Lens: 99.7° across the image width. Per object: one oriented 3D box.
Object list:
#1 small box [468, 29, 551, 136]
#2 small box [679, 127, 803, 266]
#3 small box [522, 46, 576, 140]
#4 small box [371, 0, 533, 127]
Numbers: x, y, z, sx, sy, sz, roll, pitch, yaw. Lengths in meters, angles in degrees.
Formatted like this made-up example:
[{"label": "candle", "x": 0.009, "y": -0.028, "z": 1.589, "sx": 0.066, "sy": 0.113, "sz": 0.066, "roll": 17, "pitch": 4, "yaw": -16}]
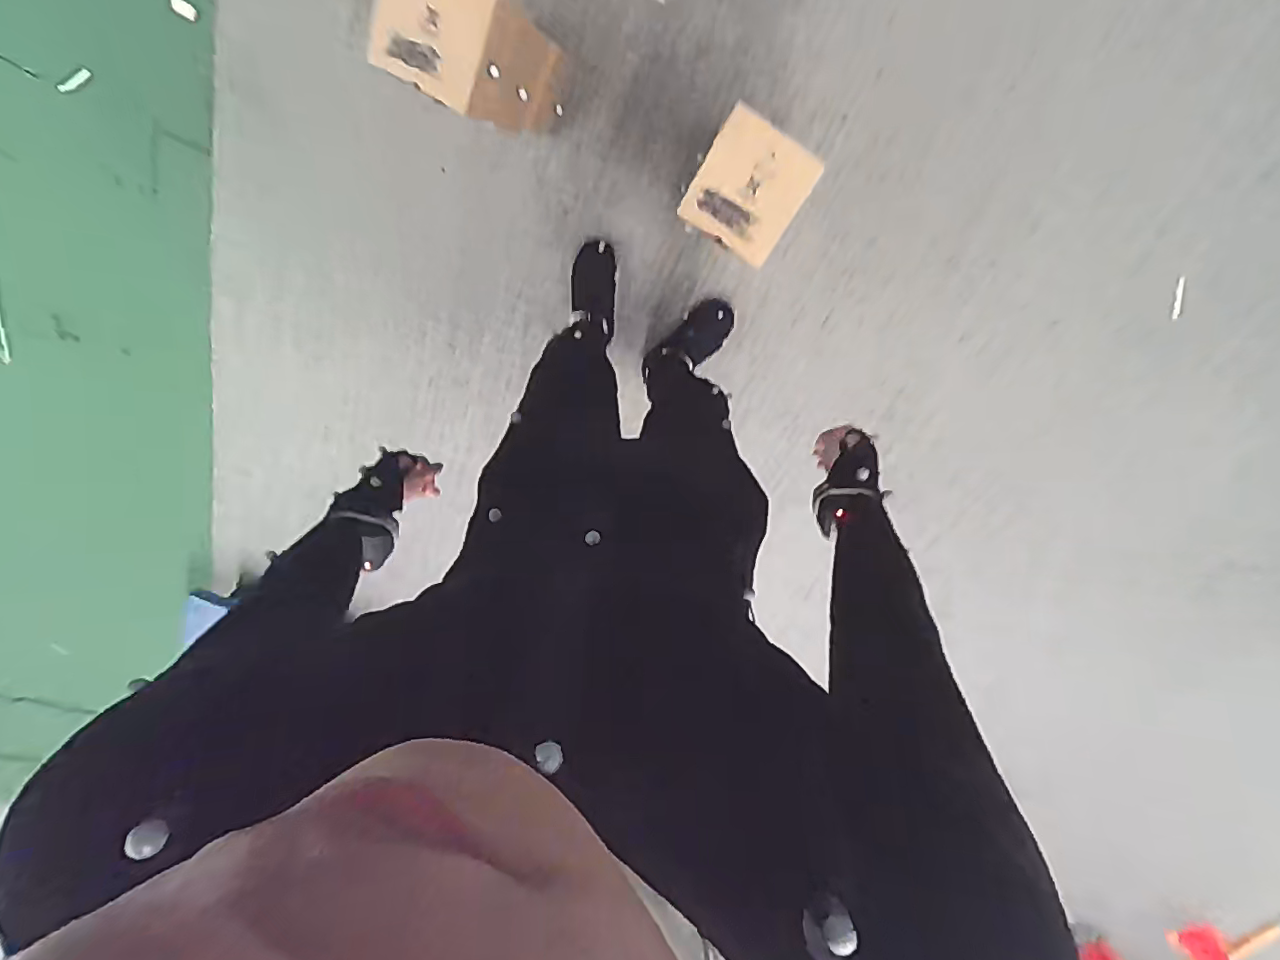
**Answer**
[{"label": "small box", "x": -0.283, "y": -0.773, "z": 1.006, "sx": 0.168, "sy": 0.176, "sz": 0.179, "roll": 28, "pitch": 119, "yaw": -8}, {"label": "small box", "x": 0.190, "y": -0.555, "z": 1.064, "sx": 0.168, "sy": 0.176, "sz": 0.179, "roll": 29, "pitch": 118, "yaw": -9}, {"label": "small box", "x": -0.259, "y": -0.851, "z": 1.148, "sx": 0.179, "sy": 0.176, "sz": 0.168, "roll": 28, "pitch": 119, "yaw": -9}, {"label": "small box", "x": -0.290, "y": -0.696, "z": 0.860, "sx": 0.168, "sy": 0.176, "sz": 0.179, "roll": 27, "pitch": 118, "yaw": -8}]
